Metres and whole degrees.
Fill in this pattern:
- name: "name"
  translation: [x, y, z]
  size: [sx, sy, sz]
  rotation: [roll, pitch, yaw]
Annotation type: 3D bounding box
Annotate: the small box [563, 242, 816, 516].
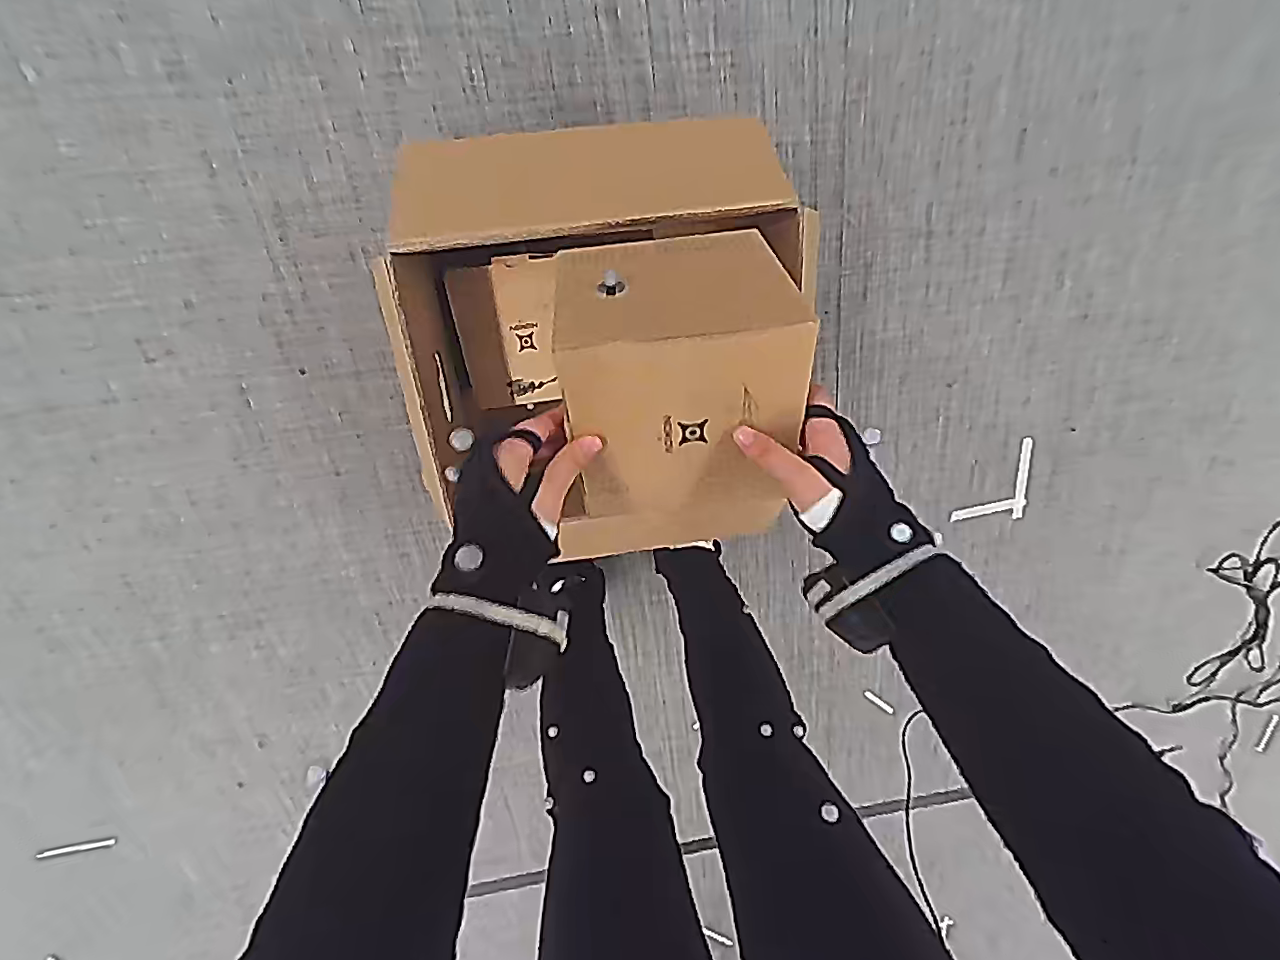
- name: "small box"
  translation: [0.033, -0.092, 0.477]
  size: [0.179, 0.176, 0.168]
  rotation: [-7, 135, -1]
